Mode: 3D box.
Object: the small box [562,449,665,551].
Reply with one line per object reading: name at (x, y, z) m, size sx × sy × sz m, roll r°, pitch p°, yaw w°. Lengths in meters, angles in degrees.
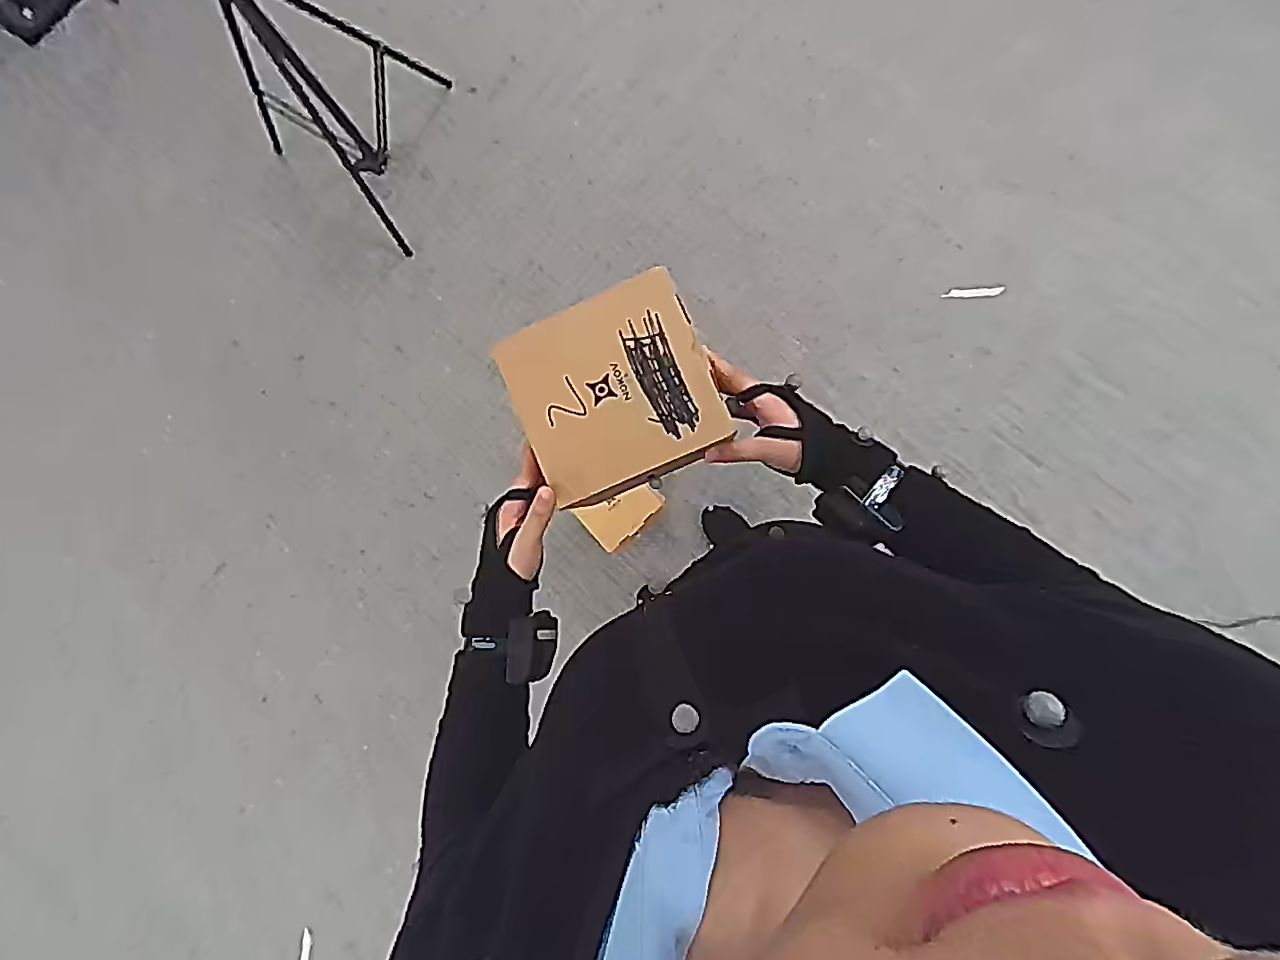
small box at (-0.055, 0.053, 1.291) m, size 0.168 × 0.176 × 0.179 m, roll -43°, pitch 83°, yaw 0°
